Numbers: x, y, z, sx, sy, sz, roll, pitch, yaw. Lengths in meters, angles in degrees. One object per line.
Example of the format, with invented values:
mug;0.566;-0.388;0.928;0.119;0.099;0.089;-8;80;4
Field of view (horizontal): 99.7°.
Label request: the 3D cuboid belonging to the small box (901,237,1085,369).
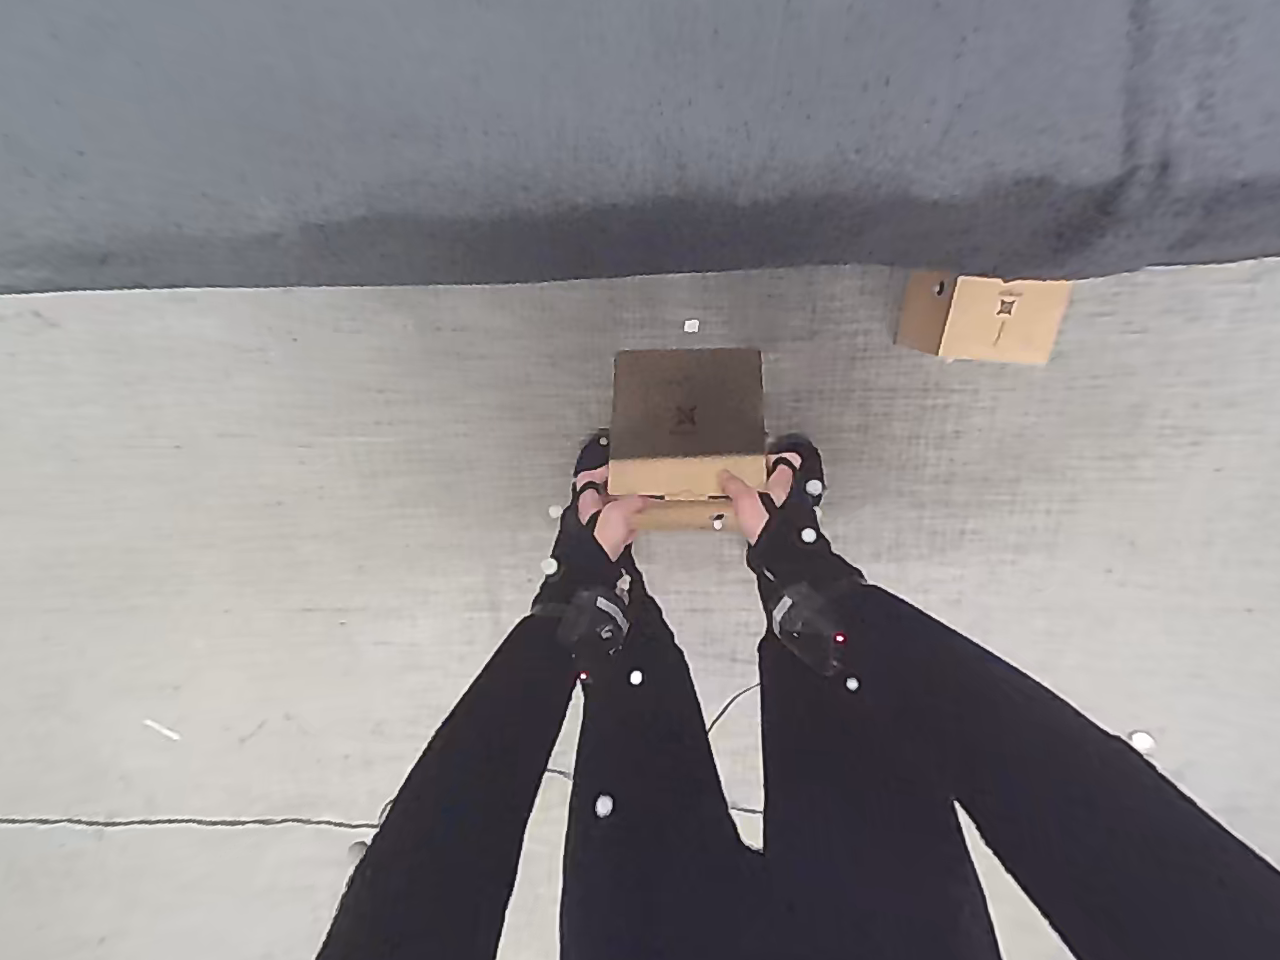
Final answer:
small box;0.542;-0.280;0.861;0.168;0.176;0.179;4;110;3
